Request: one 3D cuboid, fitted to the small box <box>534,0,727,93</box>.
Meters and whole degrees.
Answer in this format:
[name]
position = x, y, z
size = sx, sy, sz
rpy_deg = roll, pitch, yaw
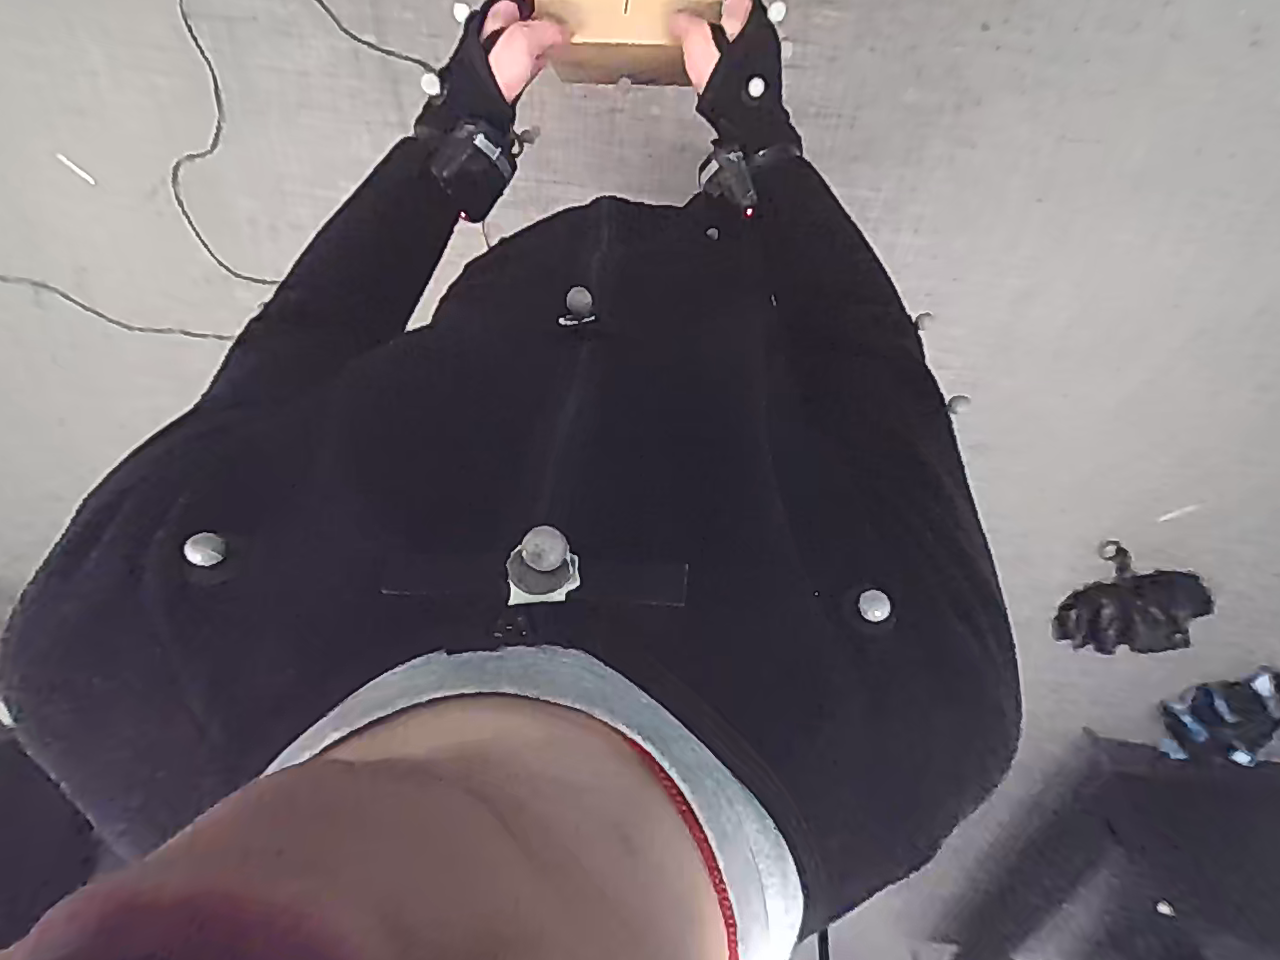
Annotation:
[small box]
position = -0.006, -0.490, 0.505
size = 0.168, 0.176, 0.179
rpy_deg = 2, 115, 0
